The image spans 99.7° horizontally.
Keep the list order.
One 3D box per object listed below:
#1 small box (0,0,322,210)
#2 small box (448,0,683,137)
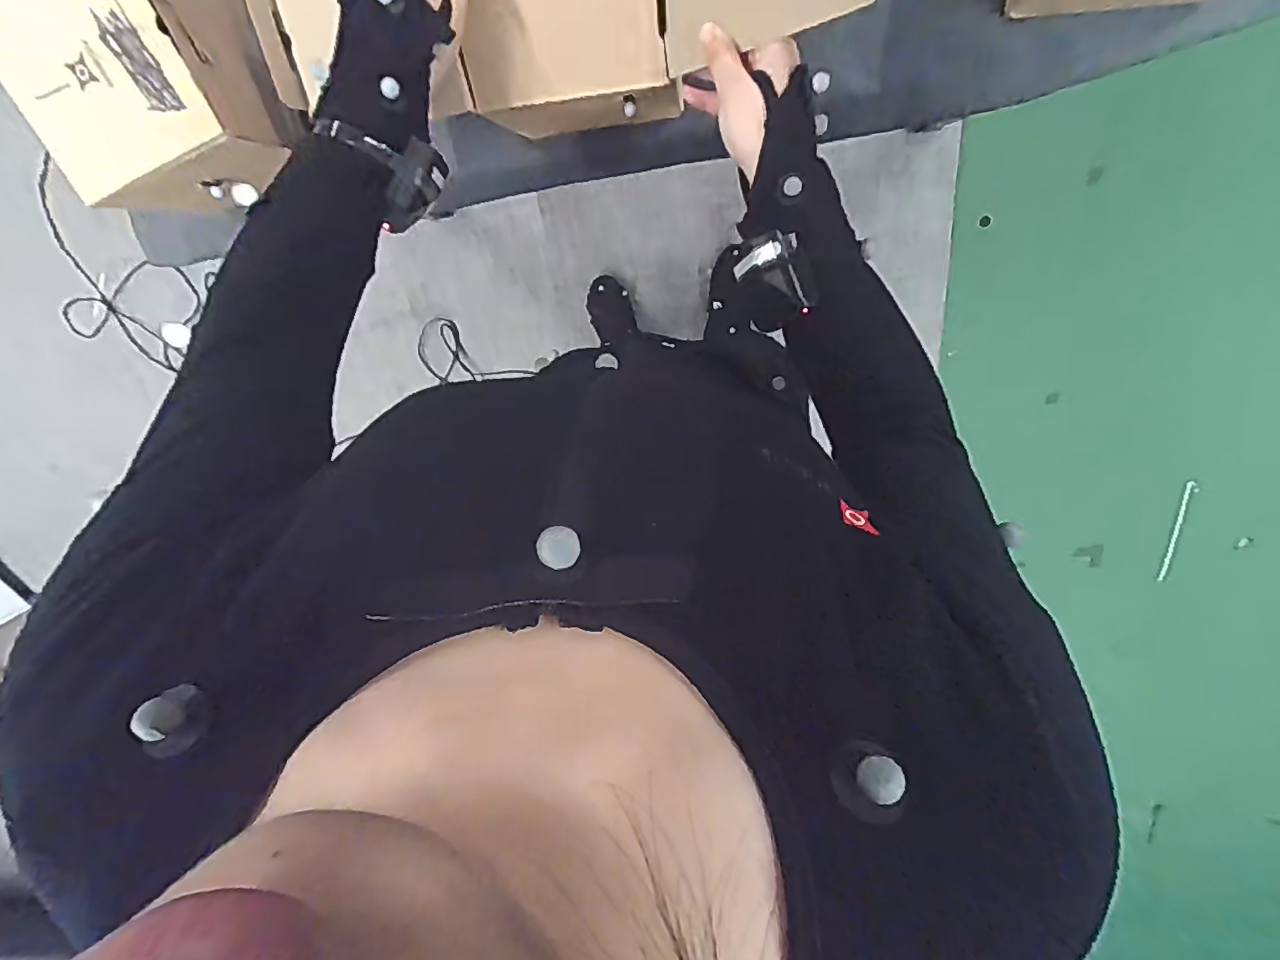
[{"bbox_3d":[-0.460,-0.386,0.538,0.179,0.176,0.168,-15,113,13],"label":"small box"},{"bbox_3d":[-0.057,-0.421,0.483,0.179,0.176,0.168,-3,116,8],"label":"small box"}]
